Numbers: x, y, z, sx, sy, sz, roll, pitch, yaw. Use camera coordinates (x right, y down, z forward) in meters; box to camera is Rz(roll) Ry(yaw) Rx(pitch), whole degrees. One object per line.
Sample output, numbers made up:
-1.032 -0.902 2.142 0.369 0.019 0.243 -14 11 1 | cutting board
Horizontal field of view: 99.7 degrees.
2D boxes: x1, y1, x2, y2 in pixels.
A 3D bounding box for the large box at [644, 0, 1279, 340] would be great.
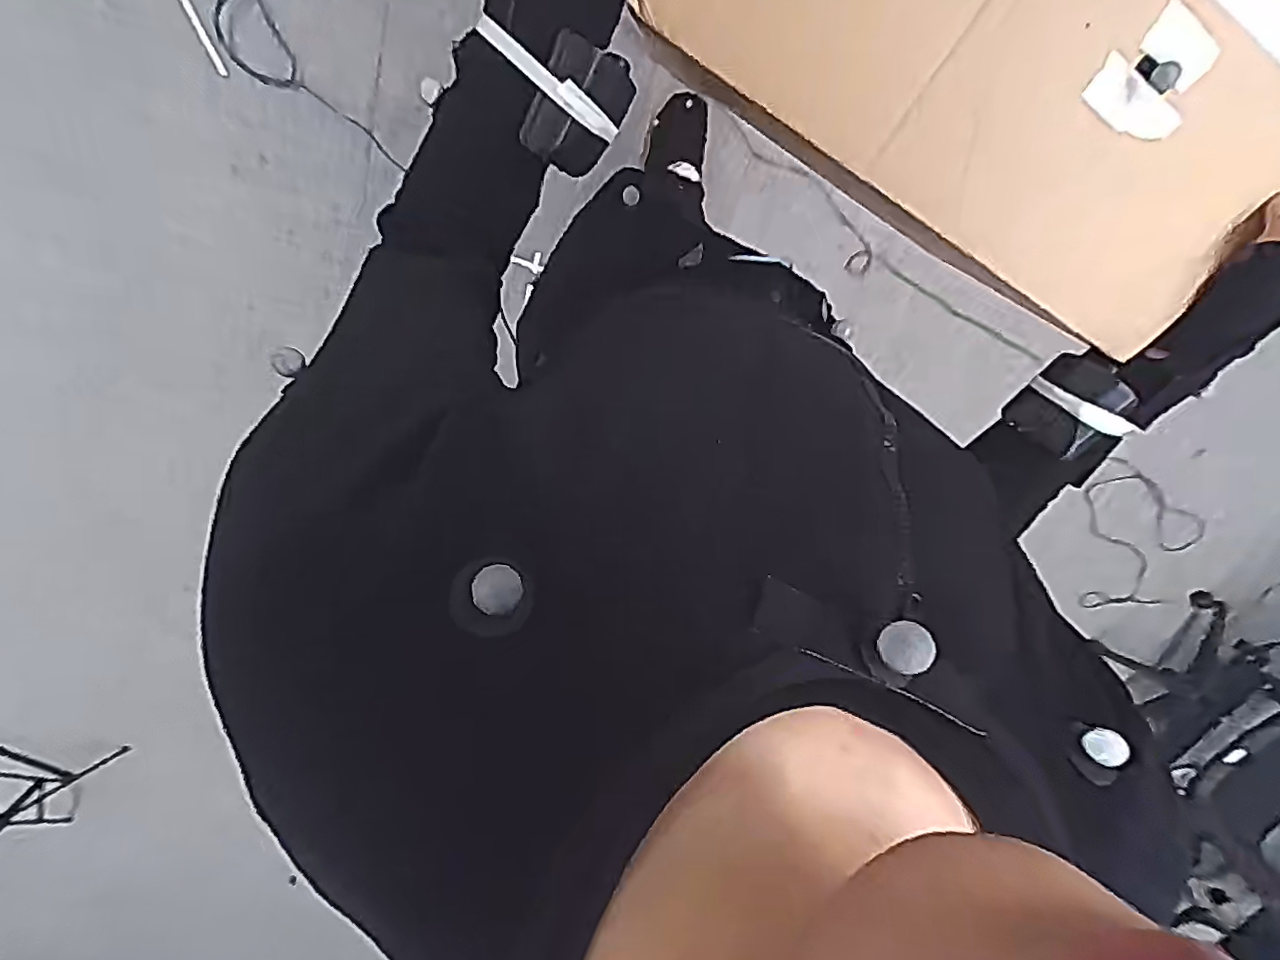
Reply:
0.250 -0.374 0.393 0.408 0.320 0.320 26 123 -14 | large box
